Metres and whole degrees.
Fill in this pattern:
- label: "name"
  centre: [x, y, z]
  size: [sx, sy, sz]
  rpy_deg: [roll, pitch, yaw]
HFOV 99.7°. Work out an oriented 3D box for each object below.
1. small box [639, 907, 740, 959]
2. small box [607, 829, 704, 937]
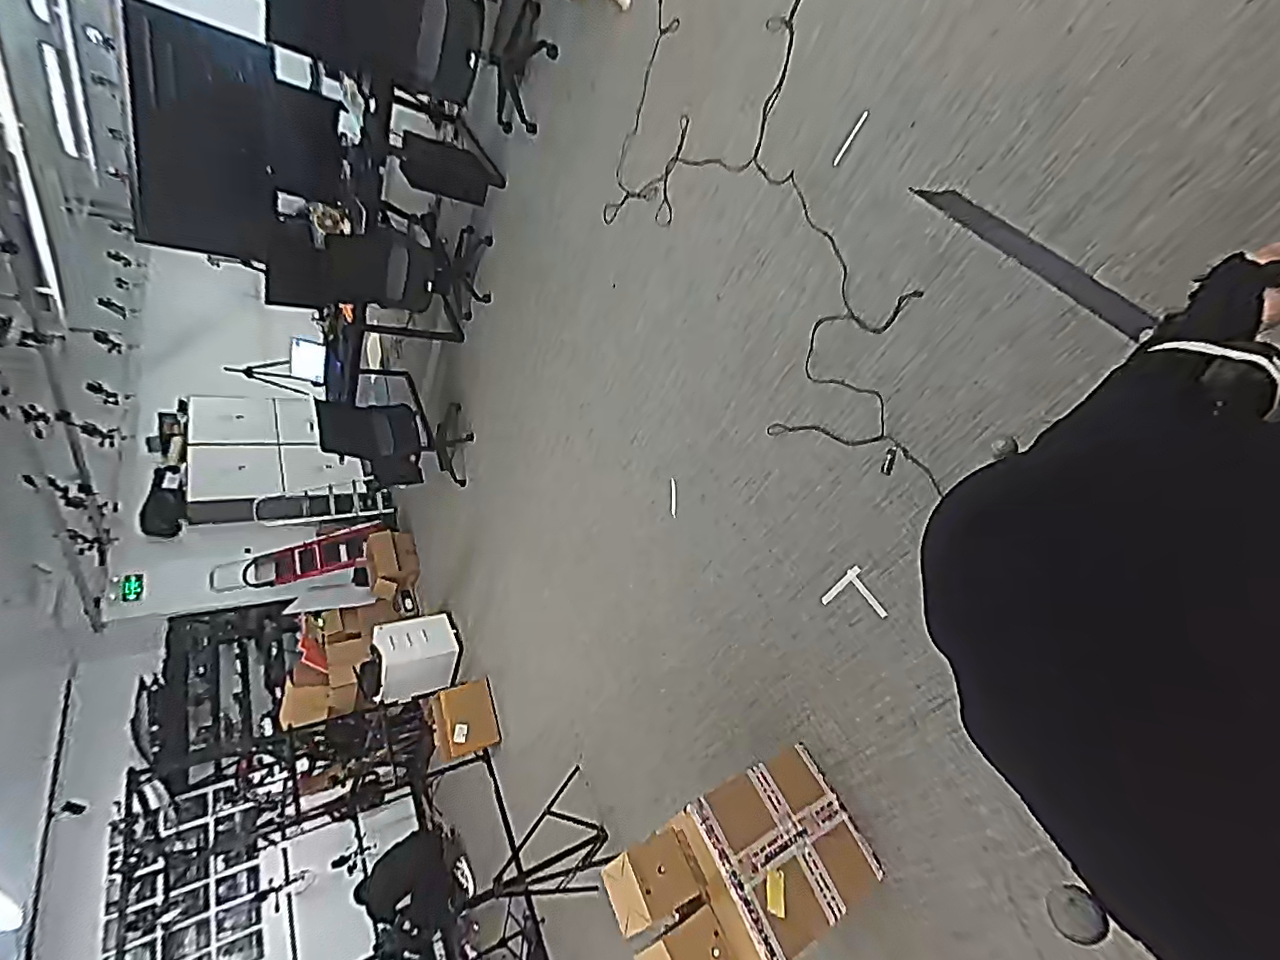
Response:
- label: "small box"
  centre: [0.131, 1.221, 1.354]
  size: [0.168, 0.176, 0.179]
  rpy_deg: [55, 131, 32]
- label: "small box"
  centre: [0.036, 1.092, 1.467]
  size: [0.179, 0.176, 0.168]
  rpy_deg: [-60, 45, 34]
